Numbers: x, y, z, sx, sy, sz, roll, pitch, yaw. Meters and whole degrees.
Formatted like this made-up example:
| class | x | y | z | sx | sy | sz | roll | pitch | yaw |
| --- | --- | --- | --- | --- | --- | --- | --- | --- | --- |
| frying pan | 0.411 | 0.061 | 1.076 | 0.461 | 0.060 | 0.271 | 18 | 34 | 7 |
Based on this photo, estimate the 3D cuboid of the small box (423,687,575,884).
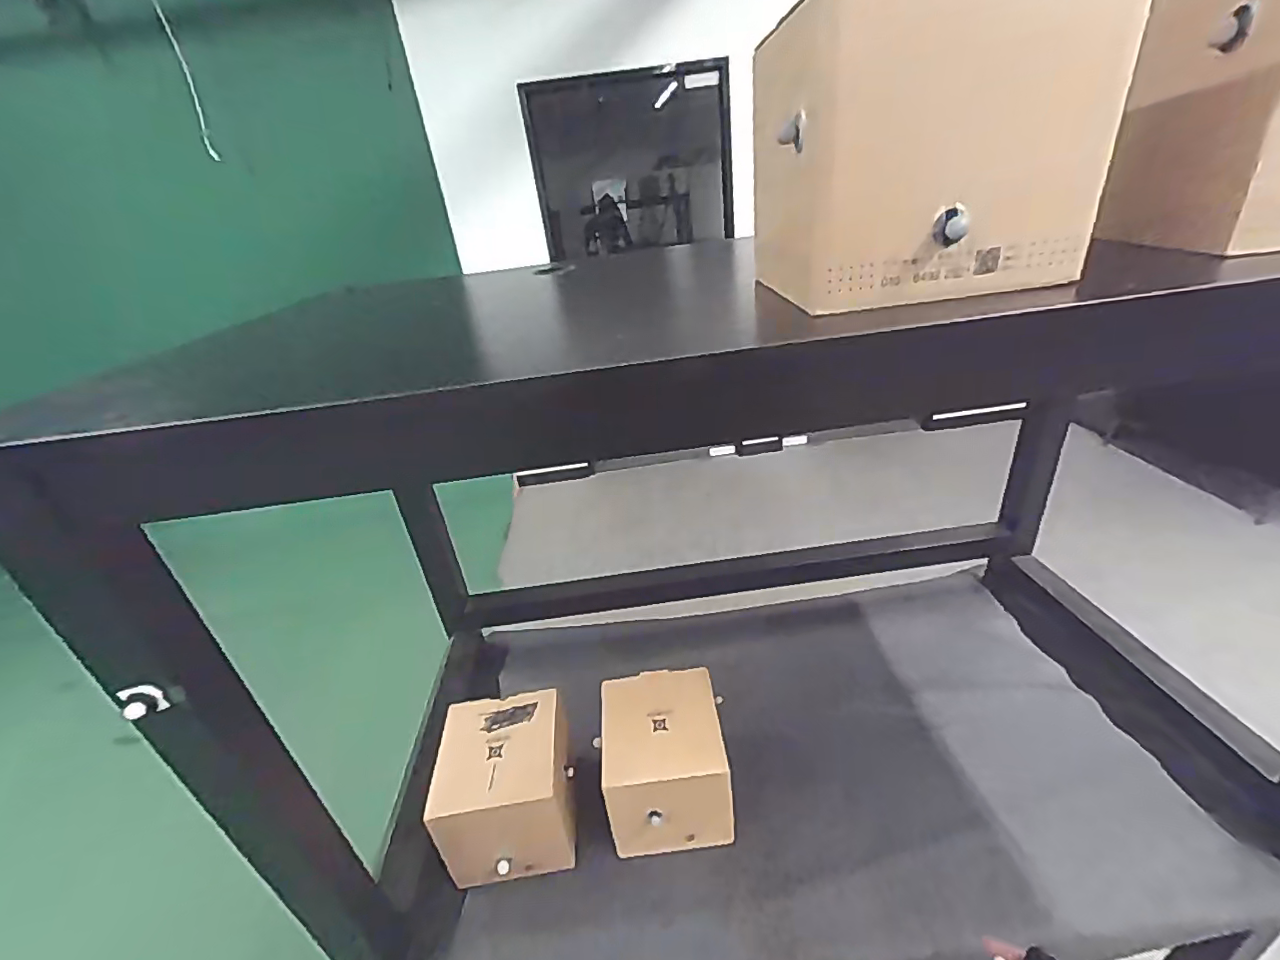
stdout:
| class | x | y | z | sx | sy | sz | roll | pitch | yaw |
| --- | --- | --- | --- | --- | --- | --- | --- | --- | --- |
| small box | -0.190 | 0.436 | 0.784 | 0.168 | 0.176 | 0.179 | -9 | 28 | -2 |

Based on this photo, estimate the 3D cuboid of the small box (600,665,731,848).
| class | x | y | z | sx | sy | sz | roll | pitch | yaw |
| --- | --- | --- | --- | --- | --- | --- | --- | --- | --- |
| small box | 0.035 | 0.405 | 0.791 | 0.168 | 0.176 | 0.179 | -8 | 27 | 0 |
